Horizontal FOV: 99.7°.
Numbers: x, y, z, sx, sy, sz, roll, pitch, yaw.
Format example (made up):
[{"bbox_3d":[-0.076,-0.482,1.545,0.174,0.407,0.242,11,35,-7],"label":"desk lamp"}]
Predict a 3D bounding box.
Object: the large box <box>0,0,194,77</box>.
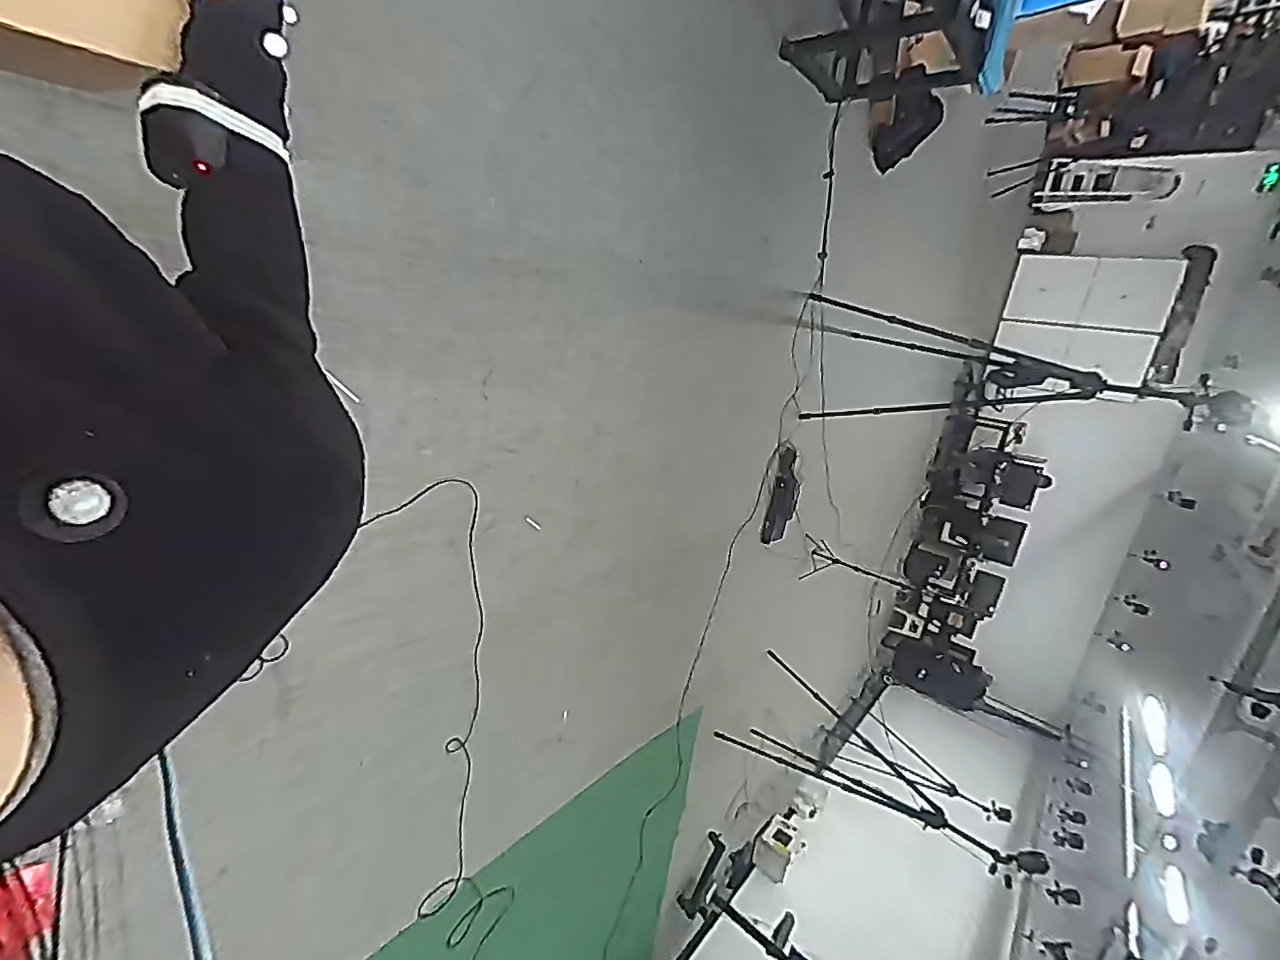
[{"bbox_3d":[-0.579,-0.481,0.315,0.408,0.320,0.320,-20,126,-51],"label":"large box"}]
